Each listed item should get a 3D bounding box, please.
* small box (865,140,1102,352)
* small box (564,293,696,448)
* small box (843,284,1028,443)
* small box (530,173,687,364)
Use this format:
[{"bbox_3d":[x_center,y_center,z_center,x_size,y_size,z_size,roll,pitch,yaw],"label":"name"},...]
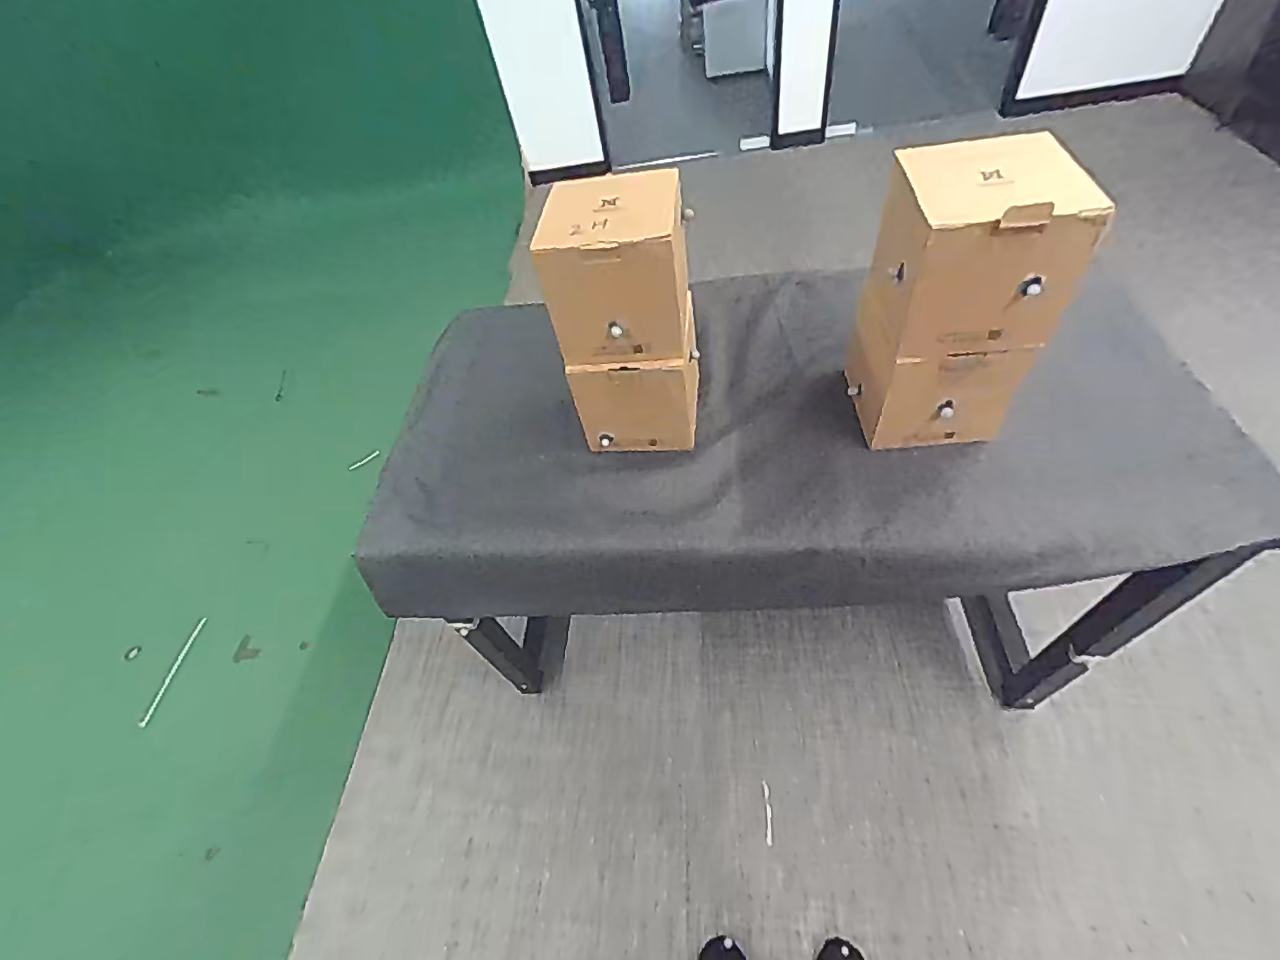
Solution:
[{"bbox_3d":[0.377,-0.265,0.636,0.168,0.176,0.179,-2,51,9],"label":"small box"},{"bbox_3d":[-0.003,-0.163,0.836,0.168,0.176,0.179,0,51,10],"label":"small box"},{"bbox_3d":[0.396,-0.164,0.763,0.168,0.176,0.179,-4,52,7],"label":"small box"},{"bbox_3d":[-0.028,-0.277,0.718,0.168,0.176,0.179,-2,52,10],"label":"small box"}]
